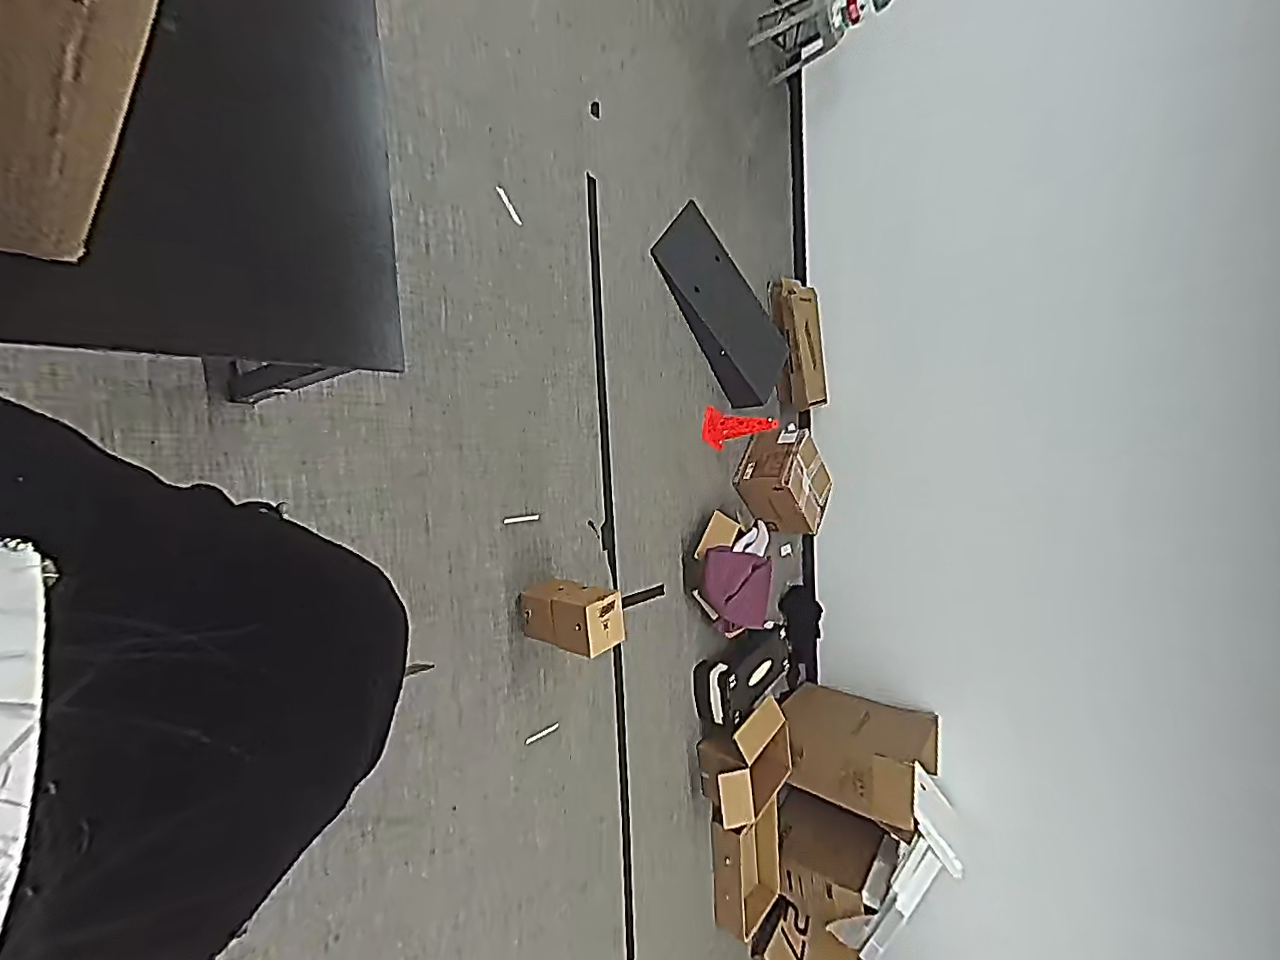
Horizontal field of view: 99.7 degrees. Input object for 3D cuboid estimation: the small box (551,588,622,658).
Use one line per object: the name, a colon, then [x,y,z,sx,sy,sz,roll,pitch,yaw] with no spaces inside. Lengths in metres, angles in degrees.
small box: [-0.182,0.470,1.812,0.168,0.176,0.179,-13,100,-49]

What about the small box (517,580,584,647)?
small box: [-0.310,0.465,1.917,0.179,0.176,0.168,-16,102,-48]
